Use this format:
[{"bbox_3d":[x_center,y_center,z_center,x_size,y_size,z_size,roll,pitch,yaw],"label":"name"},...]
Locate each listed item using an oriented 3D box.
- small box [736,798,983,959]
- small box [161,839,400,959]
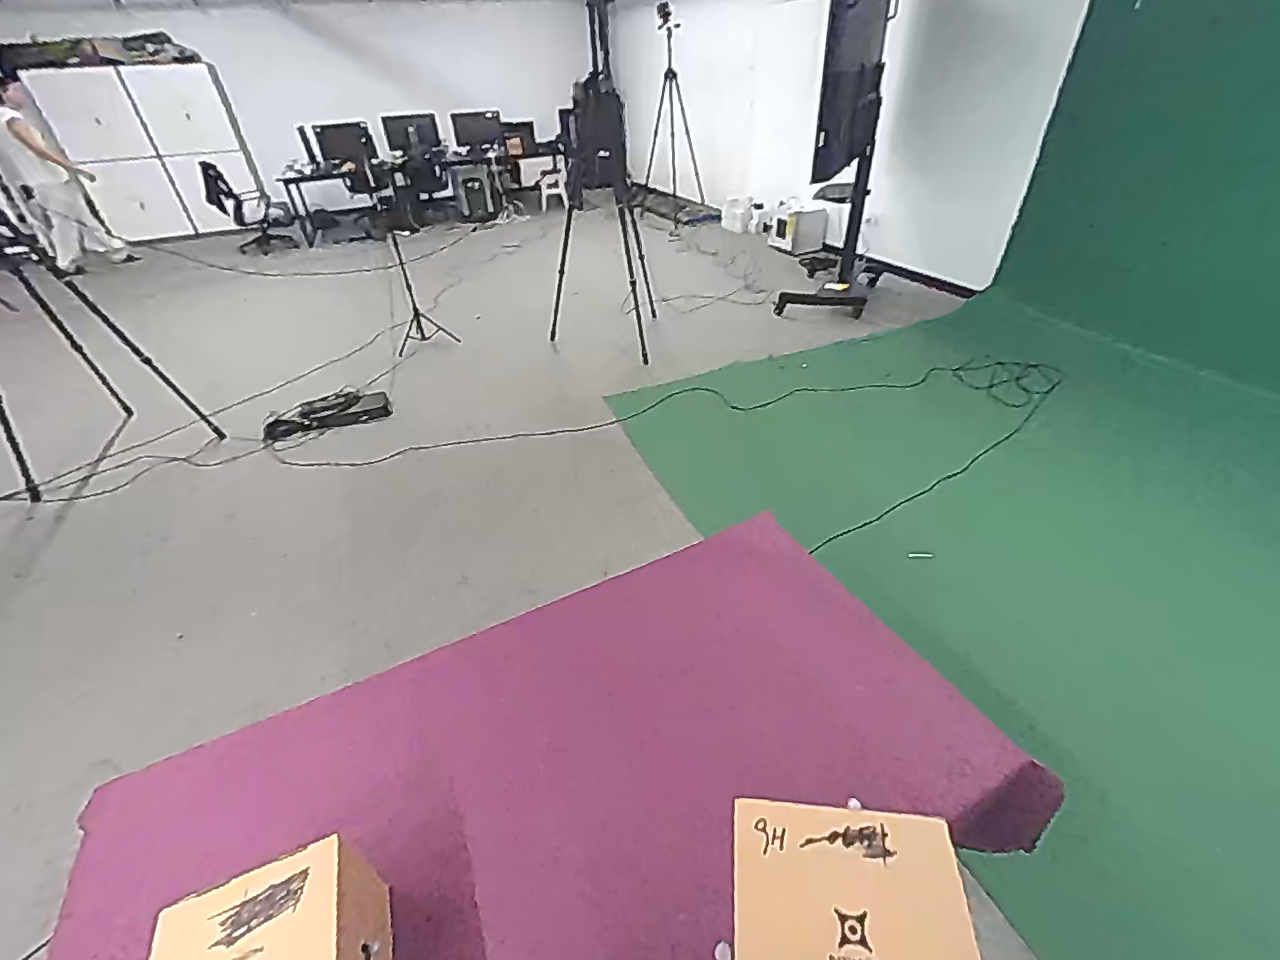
[{"bbox_3d":[0.163,0.383,0.434,0.168,0.176,0.179,-1,44,10],"label":"small box"},{"bbox_3d":[-0.351,0.517,0.543,0.168,0.176,0.179,-17,40,-17],"label":"small box"}]
